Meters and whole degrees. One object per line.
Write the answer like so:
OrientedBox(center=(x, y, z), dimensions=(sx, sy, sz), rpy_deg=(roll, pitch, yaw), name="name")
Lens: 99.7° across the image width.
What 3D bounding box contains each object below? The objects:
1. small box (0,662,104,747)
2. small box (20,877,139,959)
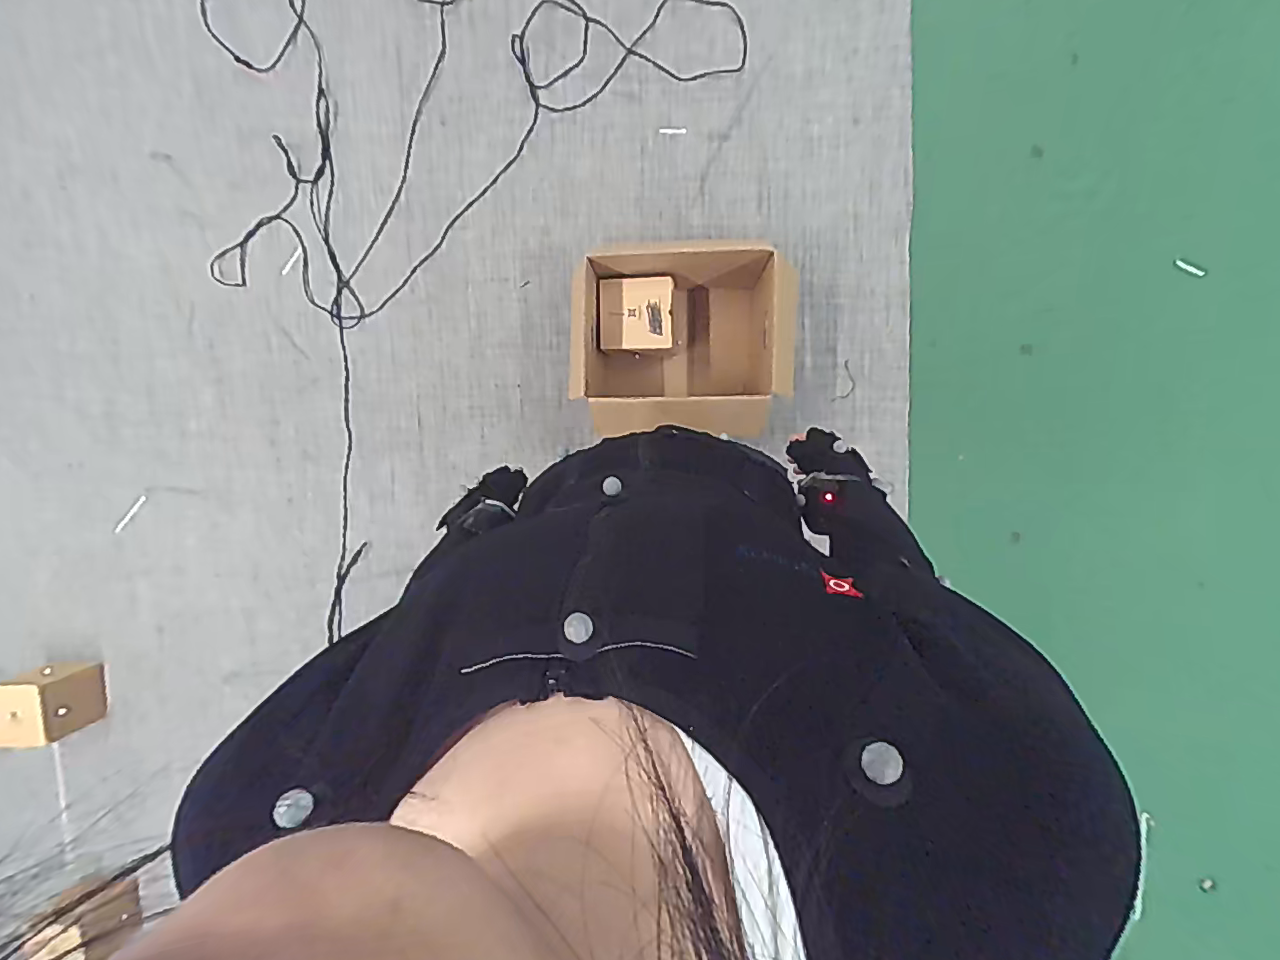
OrientedBox(center=(-1.689, 0.629, 1.535), dimensions=(0.168, 0.176, 0.179), rpy_deg=(-2, 95, 2), name="small box")
OrientedBox(center=(-1.643, 1.310, 1.592), dimensions=(0.179, 0.176, 0.168), rpy_deg=(-2, 95, 3), name="small box")
